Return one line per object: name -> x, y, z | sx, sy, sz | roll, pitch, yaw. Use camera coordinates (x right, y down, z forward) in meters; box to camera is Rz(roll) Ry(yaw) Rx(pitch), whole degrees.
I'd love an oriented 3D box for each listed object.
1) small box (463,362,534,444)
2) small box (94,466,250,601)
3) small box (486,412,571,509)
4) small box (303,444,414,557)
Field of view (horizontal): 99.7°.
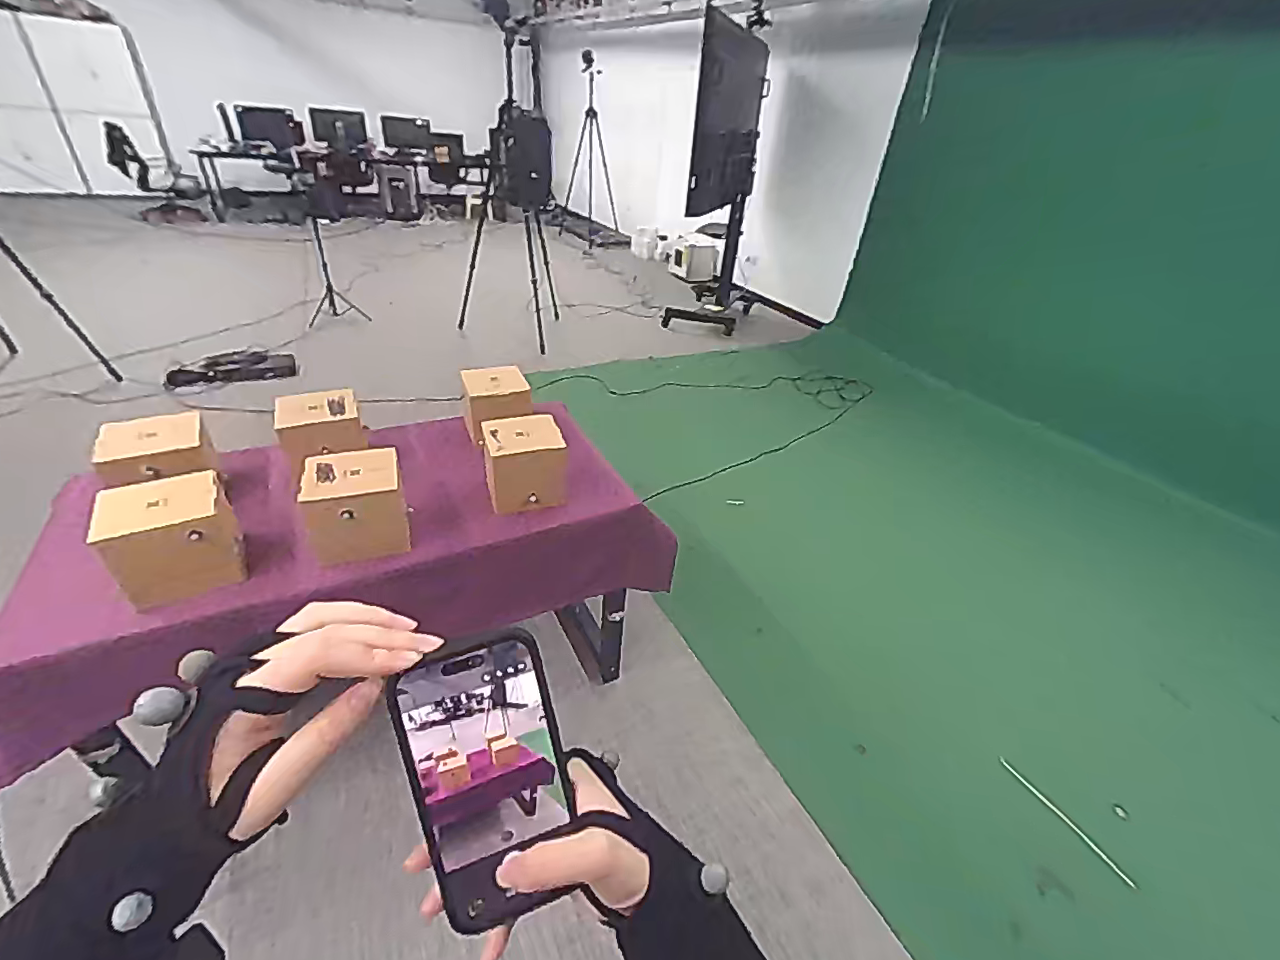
small box -> -0.406, -0.223, 1.551 | 0.168, 0.176, 0.179 | -11, 39, -22
small box -> -0.870, 0.099, 1.021 | 0.179, 0.176, 0.168 | -16, 40, -30
small box -> -0.276, -0.050, 1.324 | 0.179, 0.176, 0.168 | -8, 37, -20
small box -> -0.587, 0.043, 1.143 | 0.179, 0.176, 0.168 | -8, 37, -21
